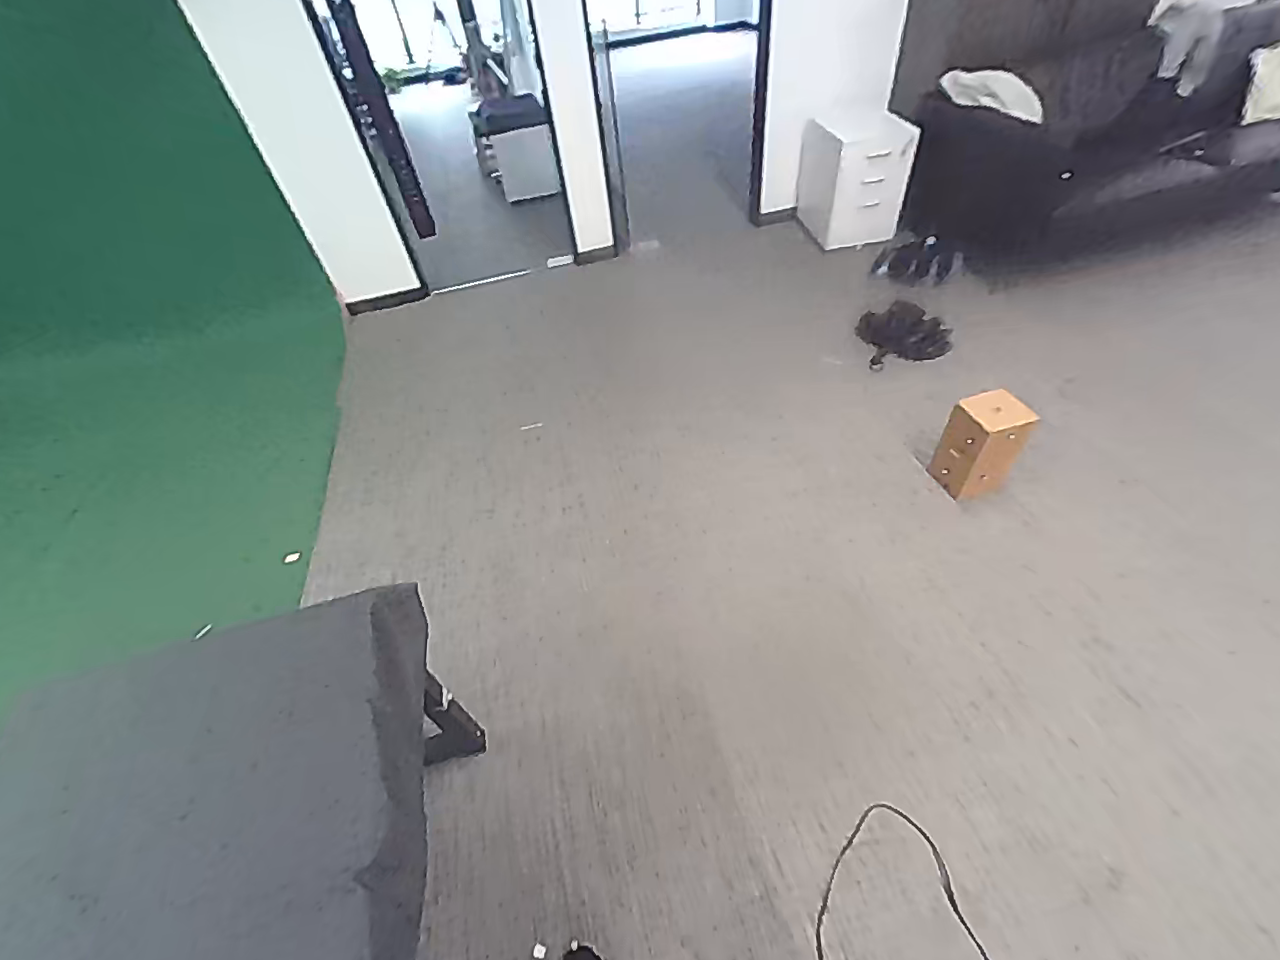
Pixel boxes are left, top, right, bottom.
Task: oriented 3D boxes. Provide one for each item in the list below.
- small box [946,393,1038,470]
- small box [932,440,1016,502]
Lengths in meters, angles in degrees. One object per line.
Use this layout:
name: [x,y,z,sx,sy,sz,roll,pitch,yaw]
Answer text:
small box: [1.142,-0.156,1.777,0.179,0.176,0.168,-14,48,-8]
small box: [1.157,-0.045,1.895,0.179,0.176,0.168,-16,47,-7]
